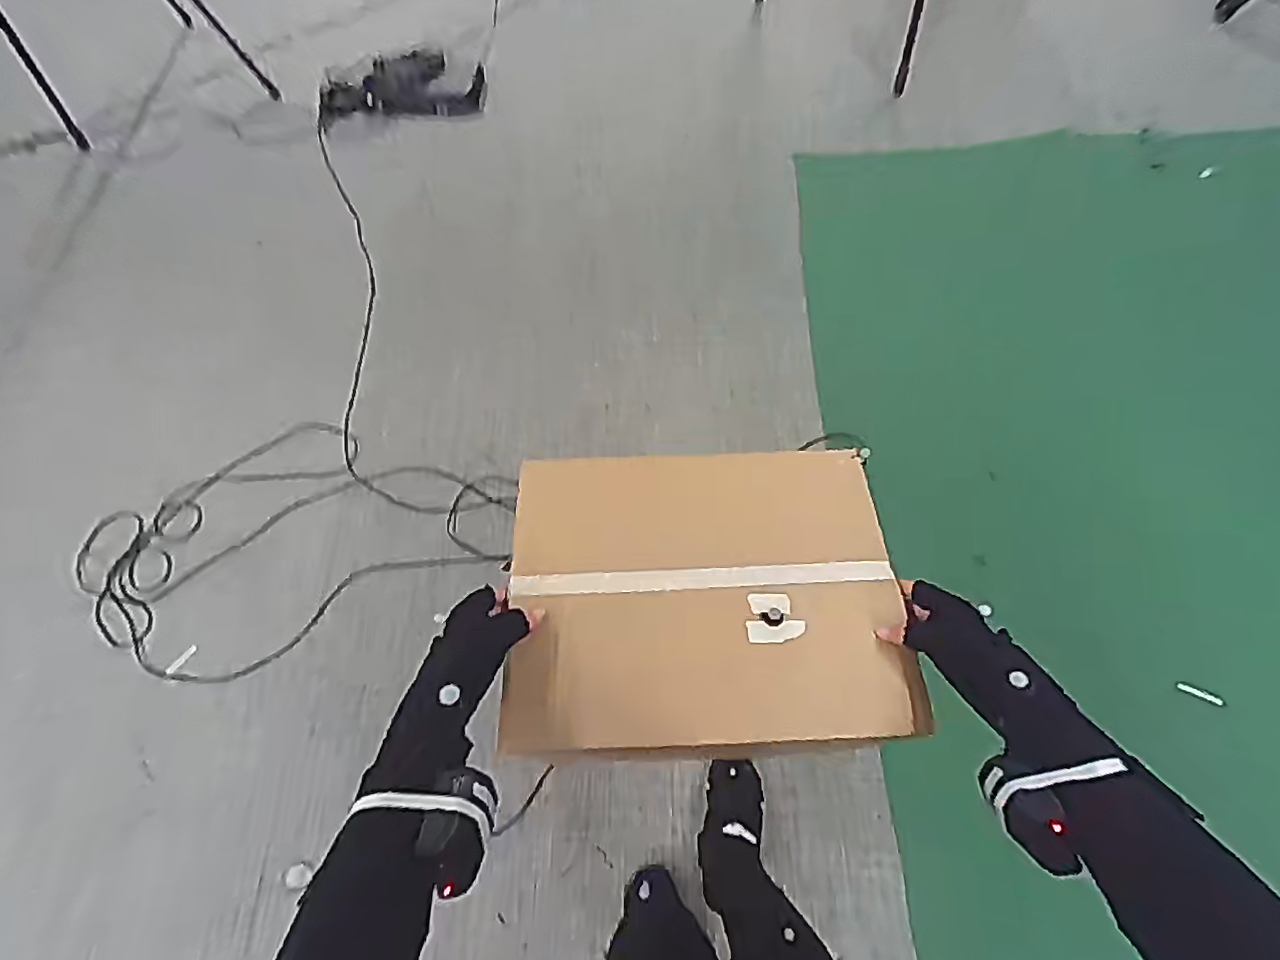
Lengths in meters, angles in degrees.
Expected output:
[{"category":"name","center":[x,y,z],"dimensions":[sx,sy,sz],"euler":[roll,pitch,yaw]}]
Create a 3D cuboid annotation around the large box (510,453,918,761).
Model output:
[{"category":"large box","center":[0.063,0.182,0.716],"dimensions":[0.408,0.320,0.320],"euler":[-2,61,-1]}]
